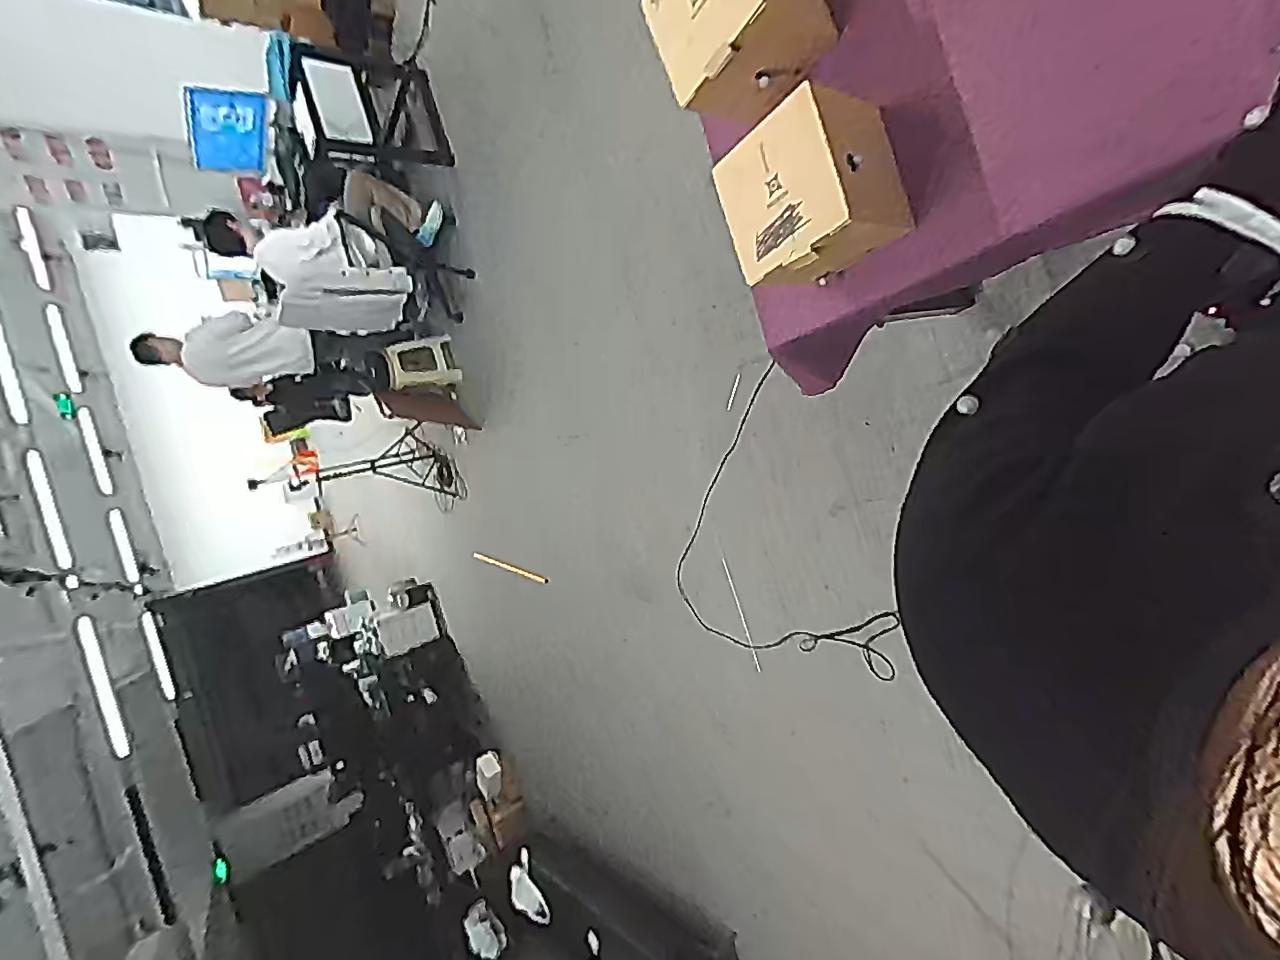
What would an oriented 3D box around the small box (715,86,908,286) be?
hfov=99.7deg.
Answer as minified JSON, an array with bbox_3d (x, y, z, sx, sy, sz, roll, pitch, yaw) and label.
[{"bbox_3d":[0.237,-0.388,0.745,0.168,0.176,0.179,-18,87,52],"label":"small box"}]

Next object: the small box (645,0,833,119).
[{"bbox_3d":[0.141,-0.649,0.766,0.168,0.176,0.179,-23,86,52],"label":"small box"}]
